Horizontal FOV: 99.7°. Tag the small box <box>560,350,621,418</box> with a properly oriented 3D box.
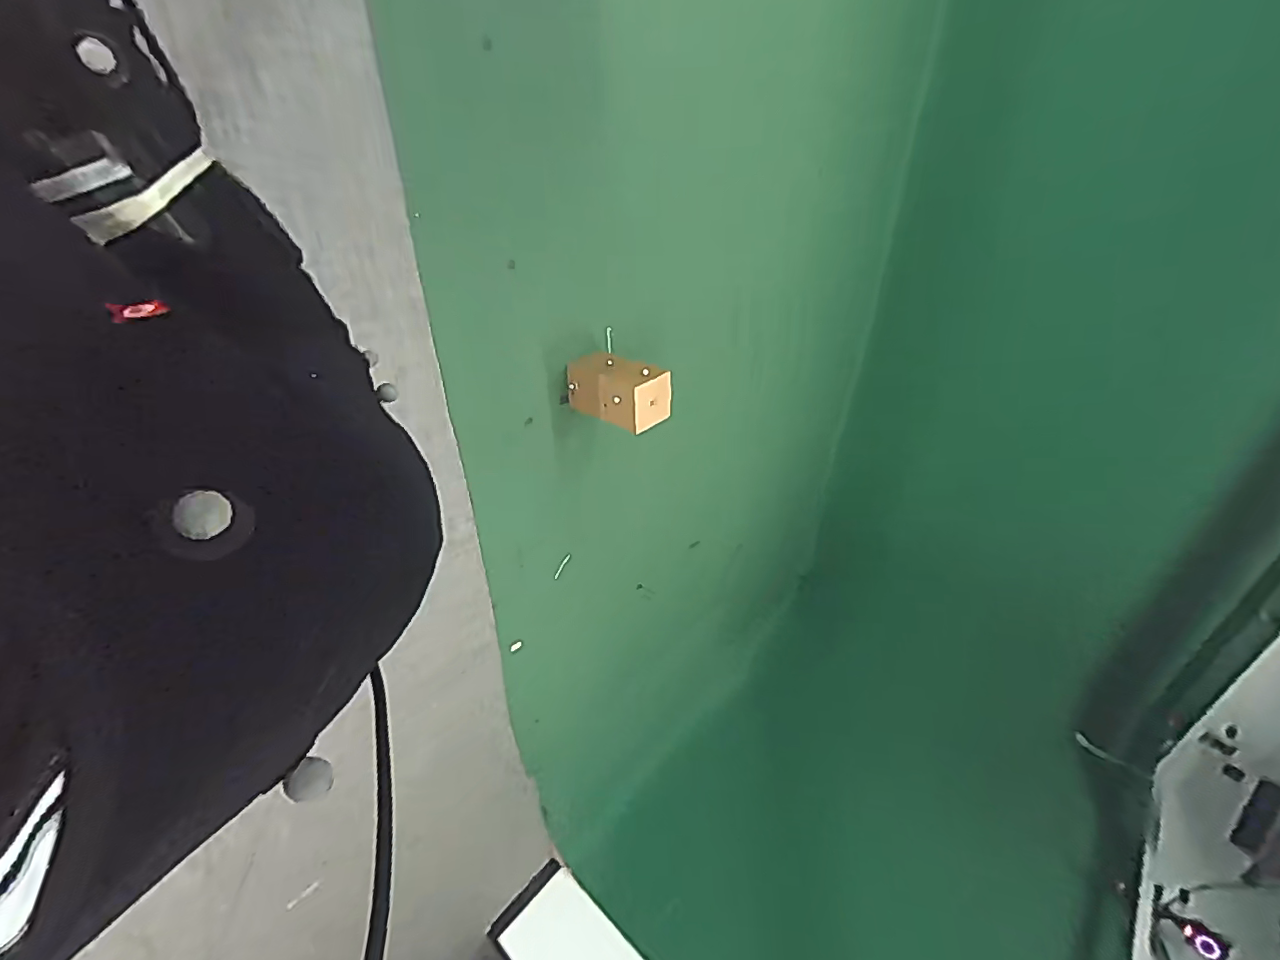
[{"bbox_3d":[-0.156,-0.343,1.888,0.179,0.176,0.168,-31,133,-38],"label":"small box"}]

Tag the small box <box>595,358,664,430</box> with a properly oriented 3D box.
[{"bbox_3d":[-0.038,-0.290,1.789,0.179,0.176,0.168,-34,135,-38],"label":"small box"}]
